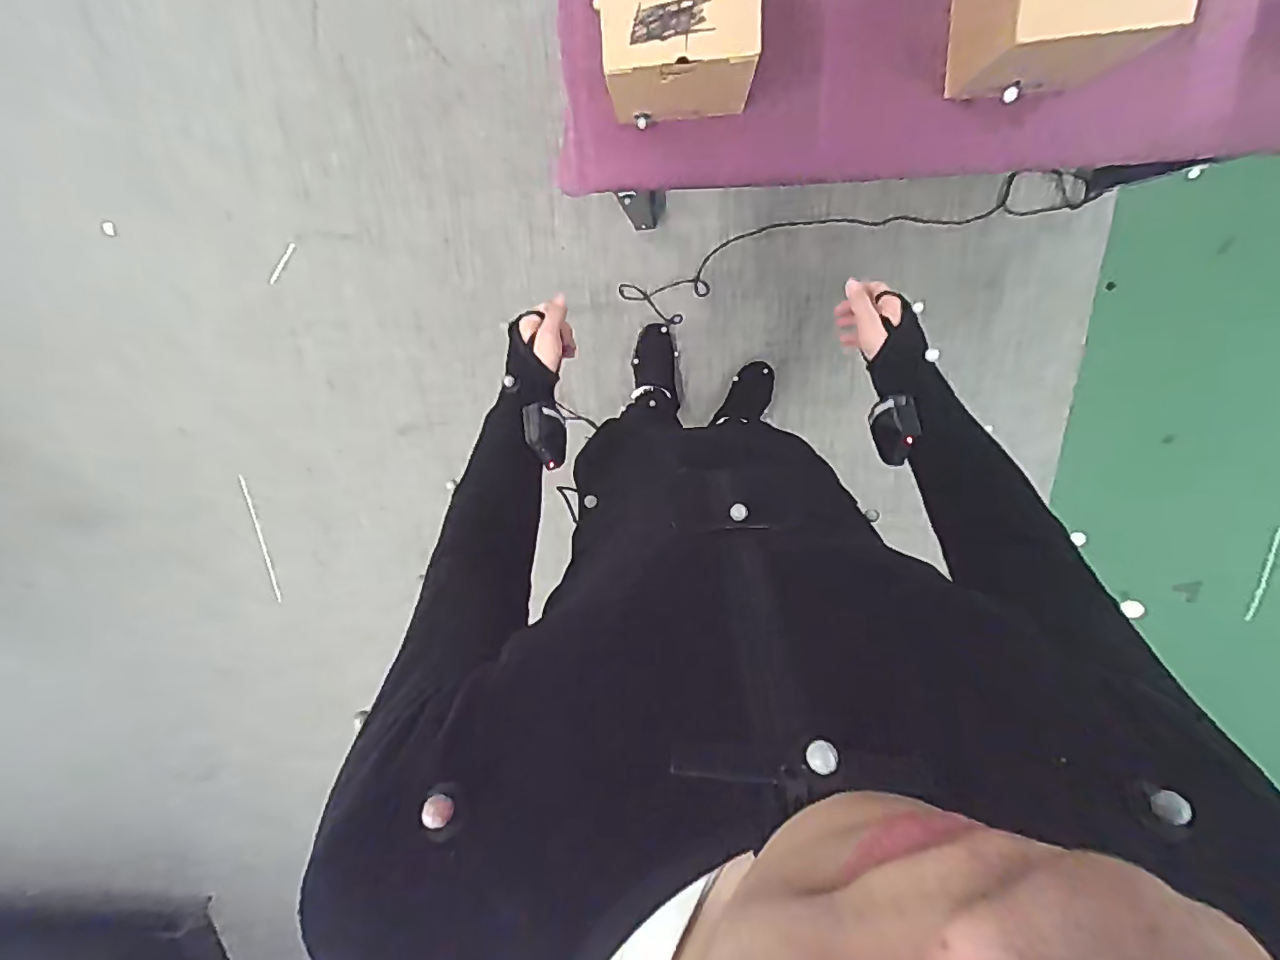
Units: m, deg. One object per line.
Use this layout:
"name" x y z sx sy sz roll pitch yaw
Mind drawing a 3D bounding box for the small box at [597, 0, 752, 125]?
"small box" 0.043 -0.541 0.634 0.168 0.176 0.179 -2 106 6

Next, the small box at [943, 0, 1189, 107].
"small box" 0.458 -0.545 0.594 0.168 0.176 0.179 -1 108 7
